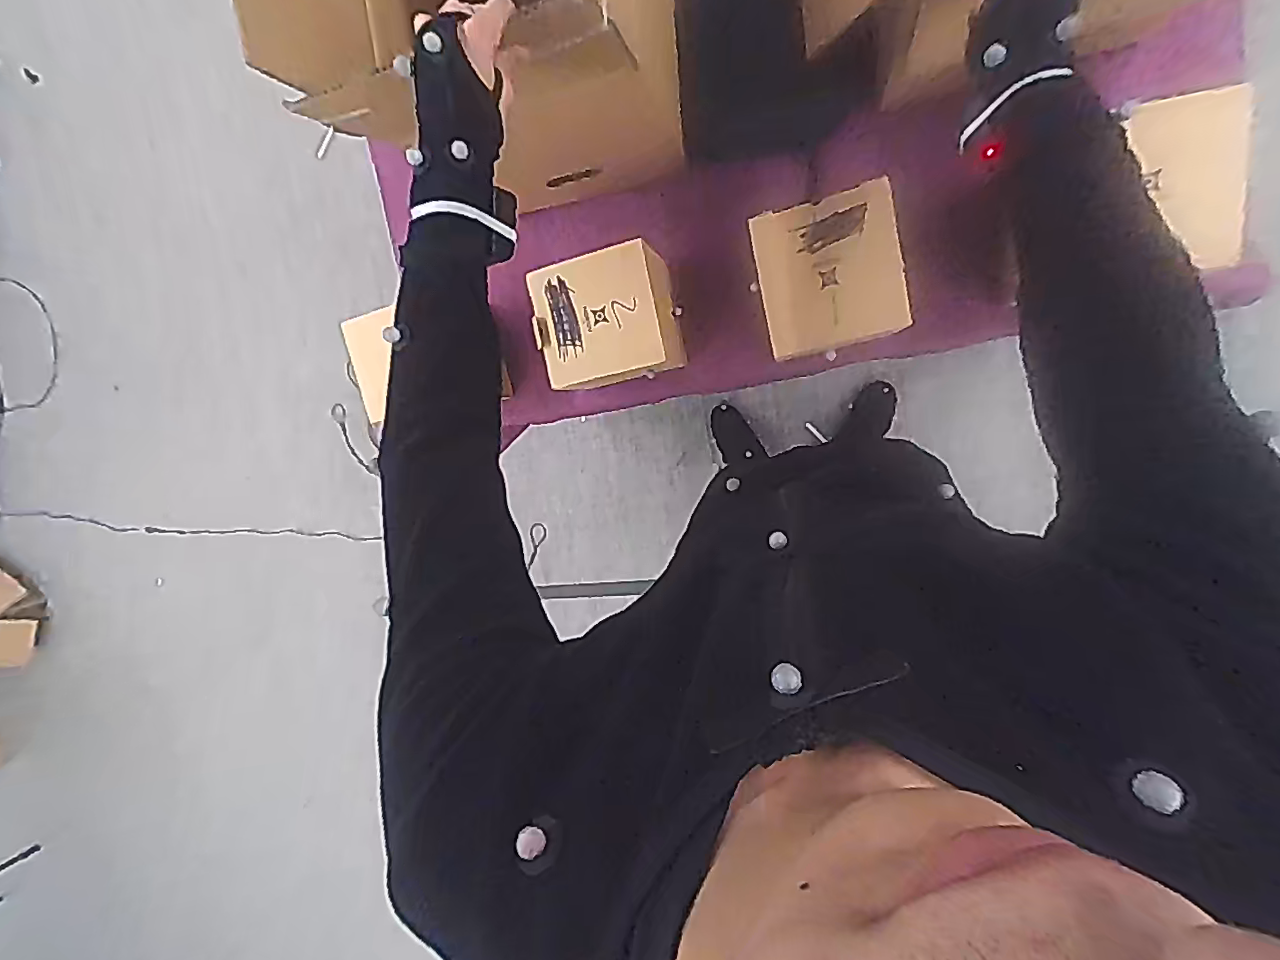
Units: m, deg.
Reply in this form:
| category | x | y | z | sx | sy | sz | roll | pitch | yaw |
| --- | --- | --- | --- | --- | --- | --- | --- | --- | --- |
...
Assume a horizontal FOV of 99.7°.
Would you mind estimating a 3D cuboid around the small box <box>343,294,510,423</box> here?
| category | x | y | z | sx | sy | sz | roll | pitch | yaw |
| --- | --- | --- | --- | --- | --- | --- | --- | --- | --- |
| small box | -0.350 | -0.197 | 0.912 | 0.179 | 0.176 | 0.168 | -12 | 97 | 16 |

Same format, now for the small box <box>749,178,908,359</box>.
| category | x | y | z | sx | sy | sz | roll | pitch | yaw |
| --- | --- | --- | --- | --- | --- | --- | --- | --- | --- |
| small box | 0.247 | -0.268 | 0.732 | 0.168 | 0.176 | 0.179 | -10 | 98 | 18 |

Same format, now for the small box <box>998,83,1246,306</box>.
| category | x | y | z | sx | sy | sz | roll | pitch | yaw |
| --- | --- | --- | --- | --- | --- | --- | --- | --- | --- |
| small box | 0.544 | -0.315 | 0.640 | 0.168 | 0.176 | 0.179 | -2 | 99 | 17 |
